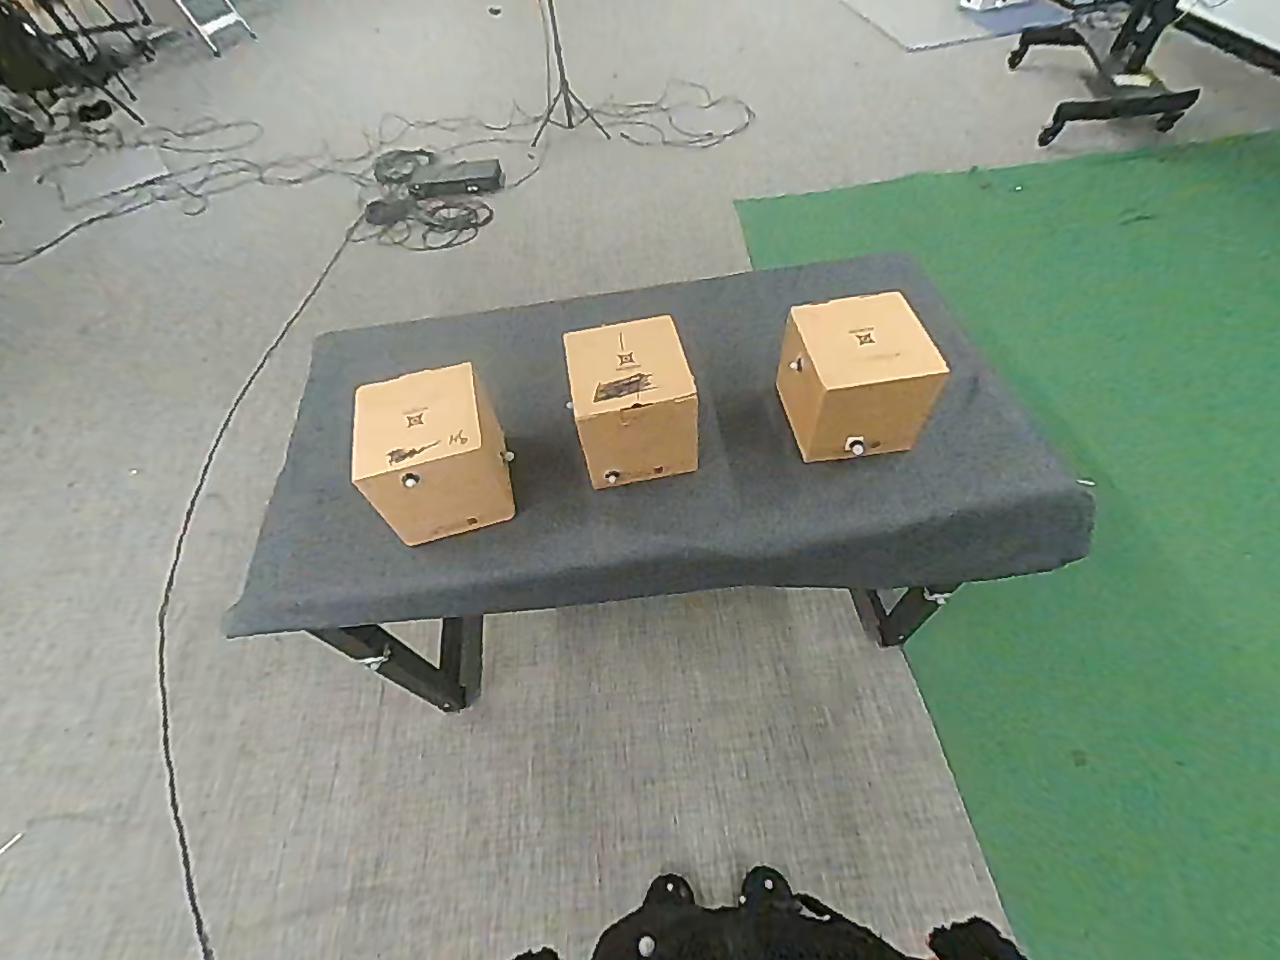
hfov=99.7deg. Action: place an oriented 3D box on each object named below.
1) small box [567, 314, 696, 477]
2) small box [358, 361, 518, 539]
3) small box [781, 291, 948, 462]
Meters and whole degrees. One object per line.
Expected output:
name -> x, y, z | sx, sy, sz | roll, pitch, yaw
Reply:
small box -> -0.009, -0.120, 0.825 | 0.168, 0.176, 0.179 | -10, 54, -2
small box -> -0.288, -0.042, 0.796 | 0.168, 0.176, 0.179 | -15, 53, -4
small box -> 0.321, -0.153, 0.818 | 0.168, 0.176, 0.179 | -9, 56, 1
